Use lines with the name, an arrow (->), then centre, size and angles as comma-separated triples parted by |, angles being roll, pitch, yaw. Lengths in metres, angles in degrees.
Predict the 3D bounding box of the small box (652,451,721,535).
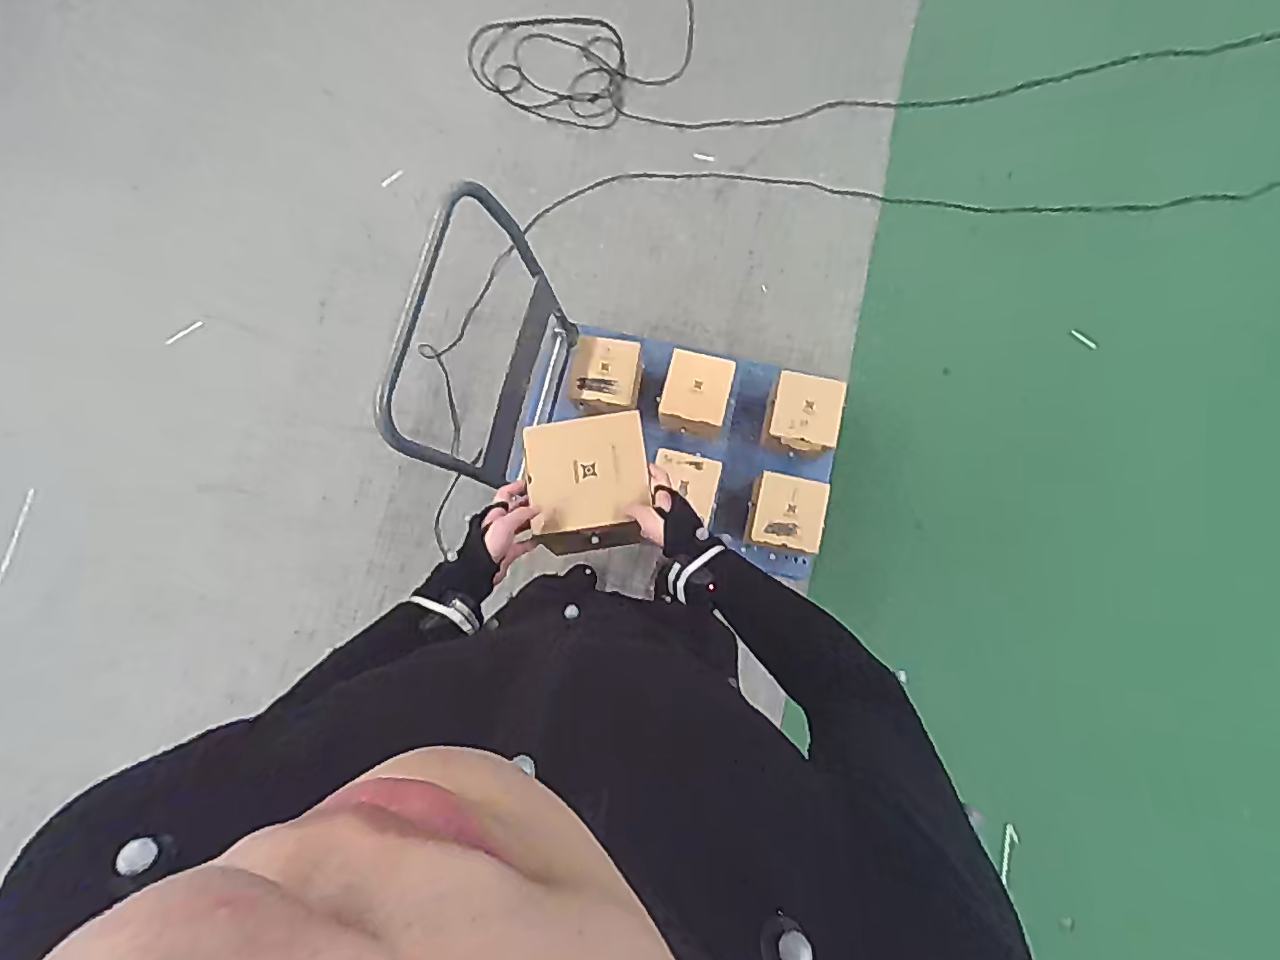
small box -> 0.108, 0.041, 1.417 | 0.168, 0.176, 0.179 | 15, 82, 5

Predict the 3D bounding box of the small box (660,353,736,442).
small box -> 0.151, -0.216, 1.459 | 0.168, 0.176, 0.179 | 14, 83, 5

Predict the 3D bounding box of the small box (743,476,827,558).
small box -> 0.370, 0.102, 1.410 | 0.168, 0.176, 0.179 | 13, 81, 4

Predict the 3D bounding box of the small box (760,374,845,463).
small box -> 0.423, -0.158, 1.432 | 0.168, 0.176, 0.179 | 13, 82, 6

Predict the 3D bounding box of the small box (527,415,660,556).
small box -> -0.066, 0.017, 0.842 | 0.179, 0.176, 0.168 | -8, 72, 1
